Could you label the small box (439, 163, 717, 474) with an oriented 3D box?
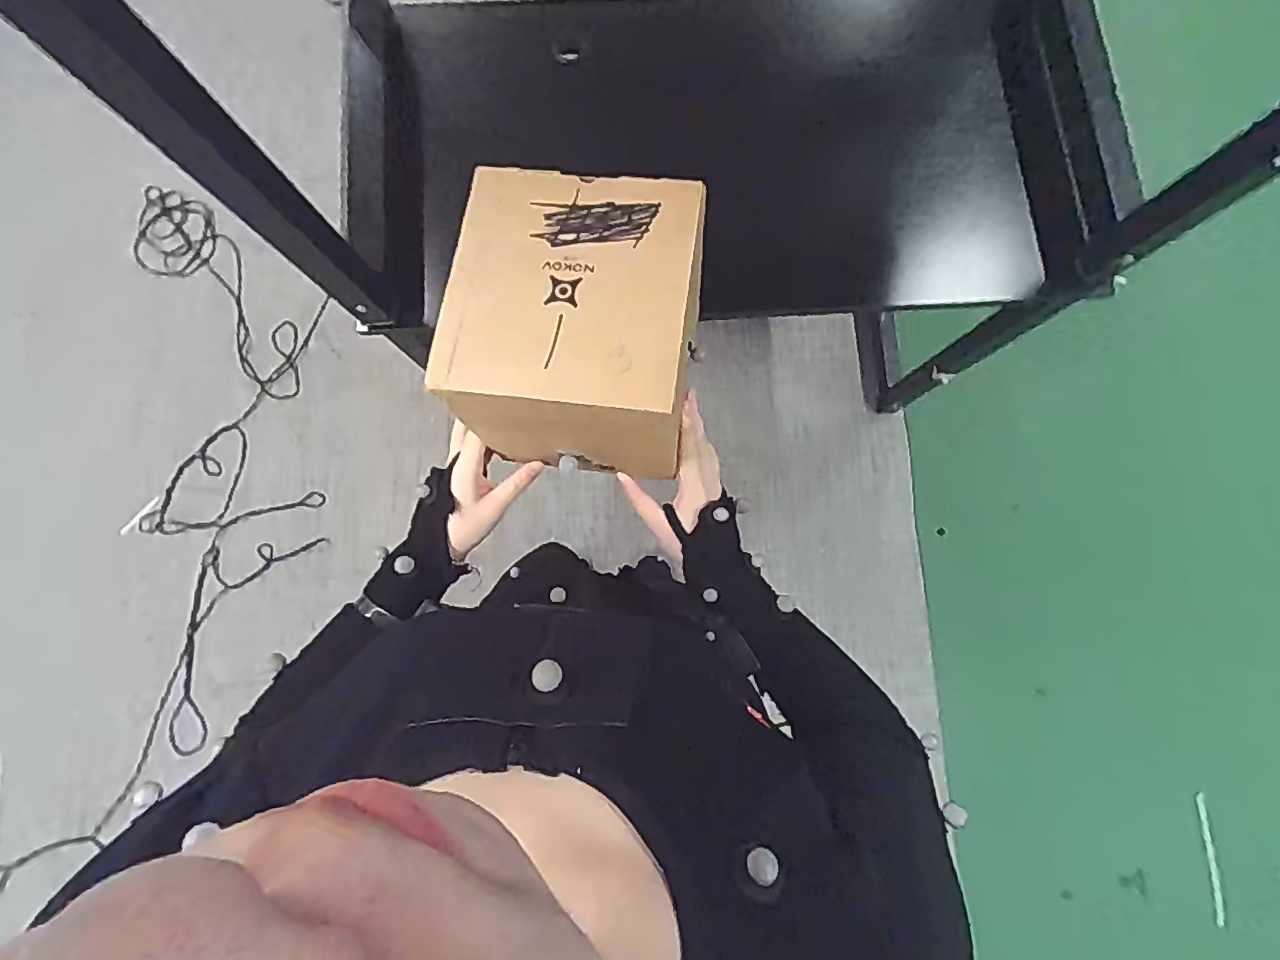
[{"bbox_3d":[-0.034,-0.117,0.442,0.168,0.176,0.179,7,77,6],"label":"small box"}]
